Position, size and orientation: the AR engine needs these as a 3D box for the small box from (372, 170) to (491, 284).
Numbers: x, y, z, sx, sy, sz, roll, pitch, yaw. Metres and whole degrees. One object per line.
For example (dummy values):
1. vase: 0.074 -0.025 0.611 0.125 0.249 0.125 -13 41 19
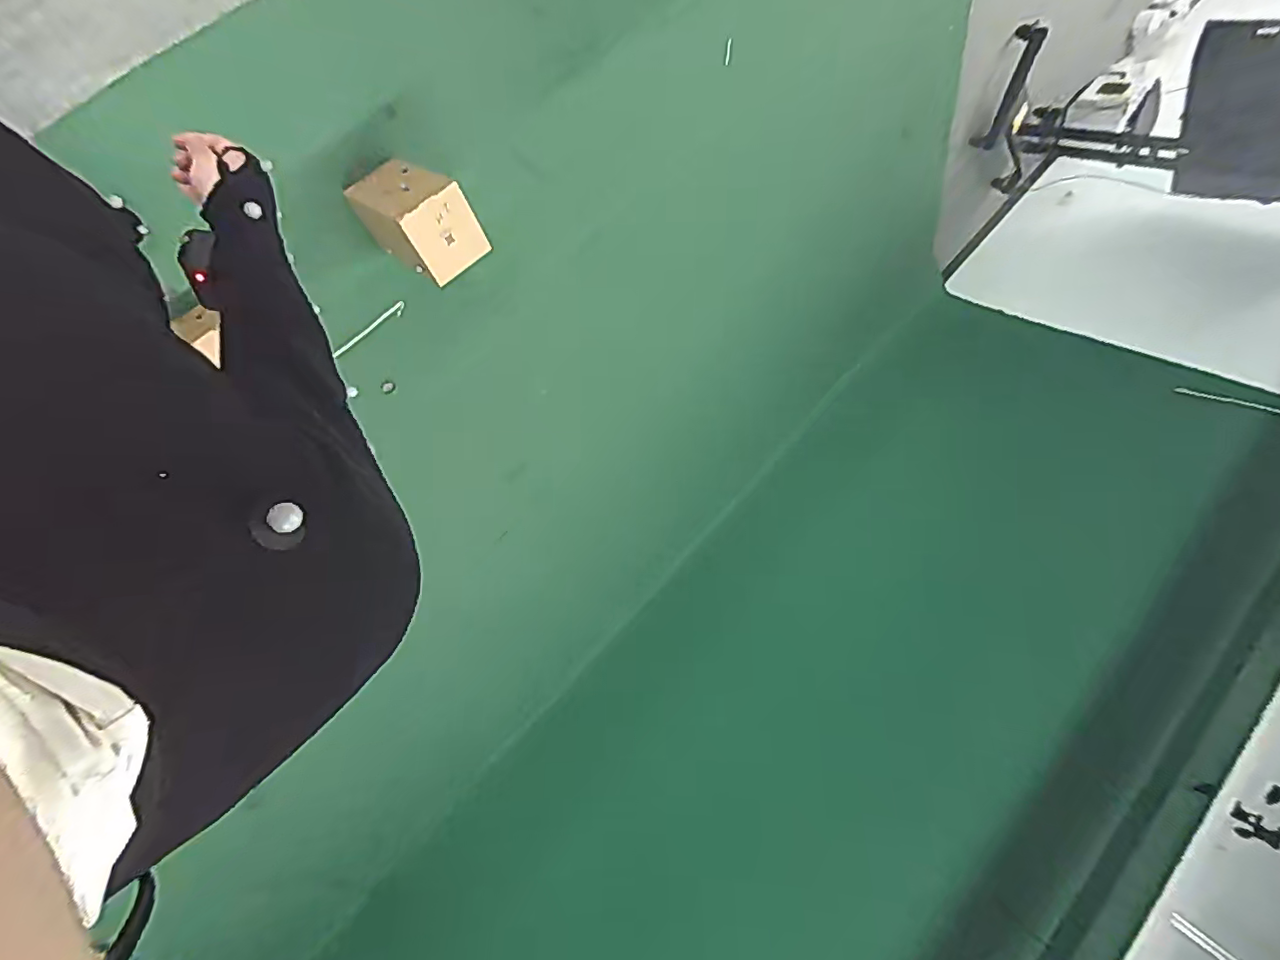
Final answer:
1. small box: -0.497 -0.609 1.296 0.168 0.176 0.179 -44 145 -15
